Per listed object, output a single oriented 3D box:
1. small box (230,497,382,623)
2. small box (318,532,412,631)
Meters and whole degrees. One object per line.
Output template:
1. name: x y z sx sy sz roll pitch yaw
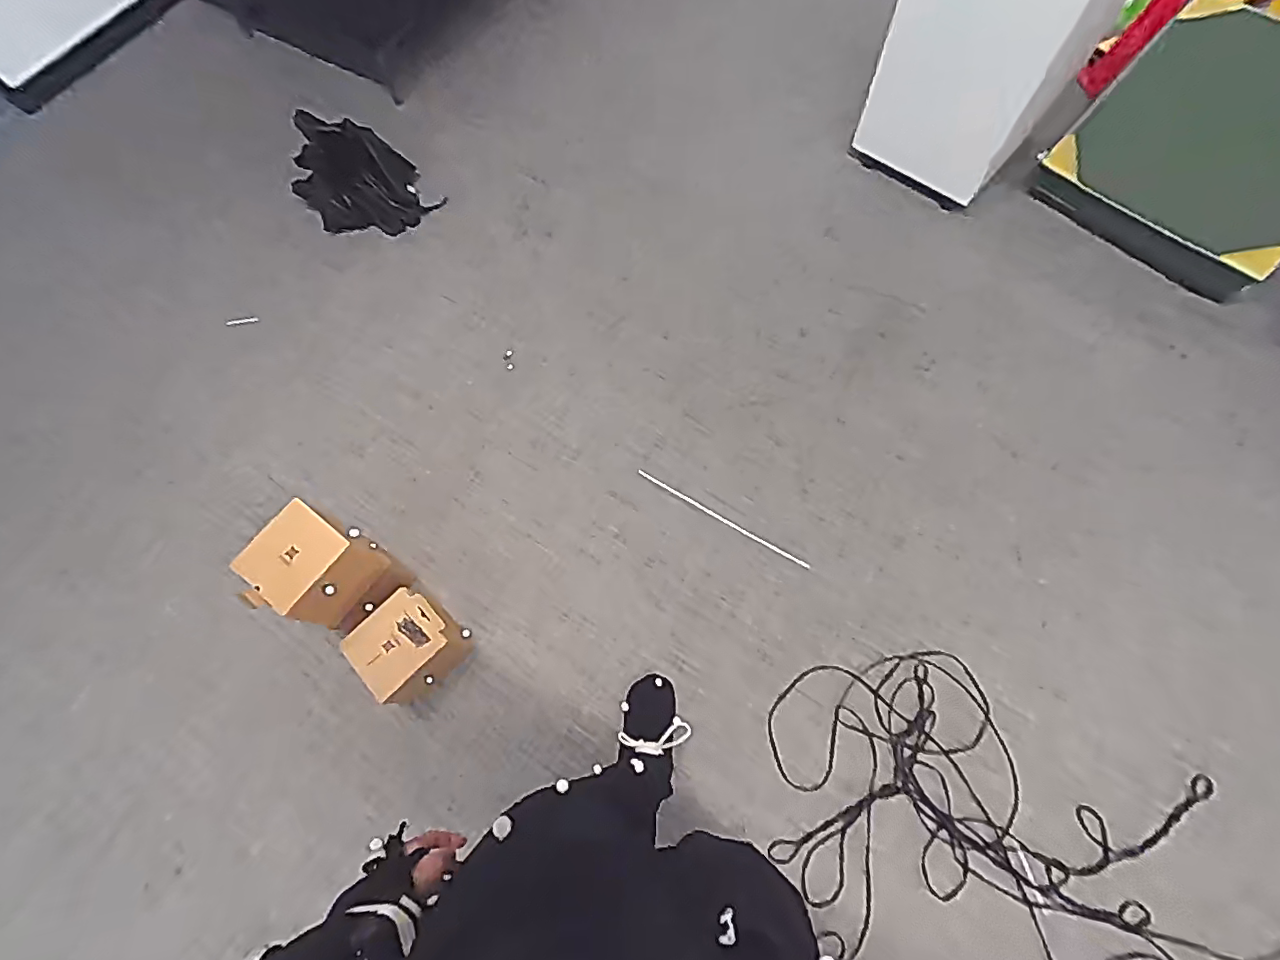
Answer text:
1. small box: -0.662 0.169 1.104 0.168 0.176 0.179 34 75 14
2. small box: -0.671 0.231 1.255 0.168 0.176 0.179 34 76 15
